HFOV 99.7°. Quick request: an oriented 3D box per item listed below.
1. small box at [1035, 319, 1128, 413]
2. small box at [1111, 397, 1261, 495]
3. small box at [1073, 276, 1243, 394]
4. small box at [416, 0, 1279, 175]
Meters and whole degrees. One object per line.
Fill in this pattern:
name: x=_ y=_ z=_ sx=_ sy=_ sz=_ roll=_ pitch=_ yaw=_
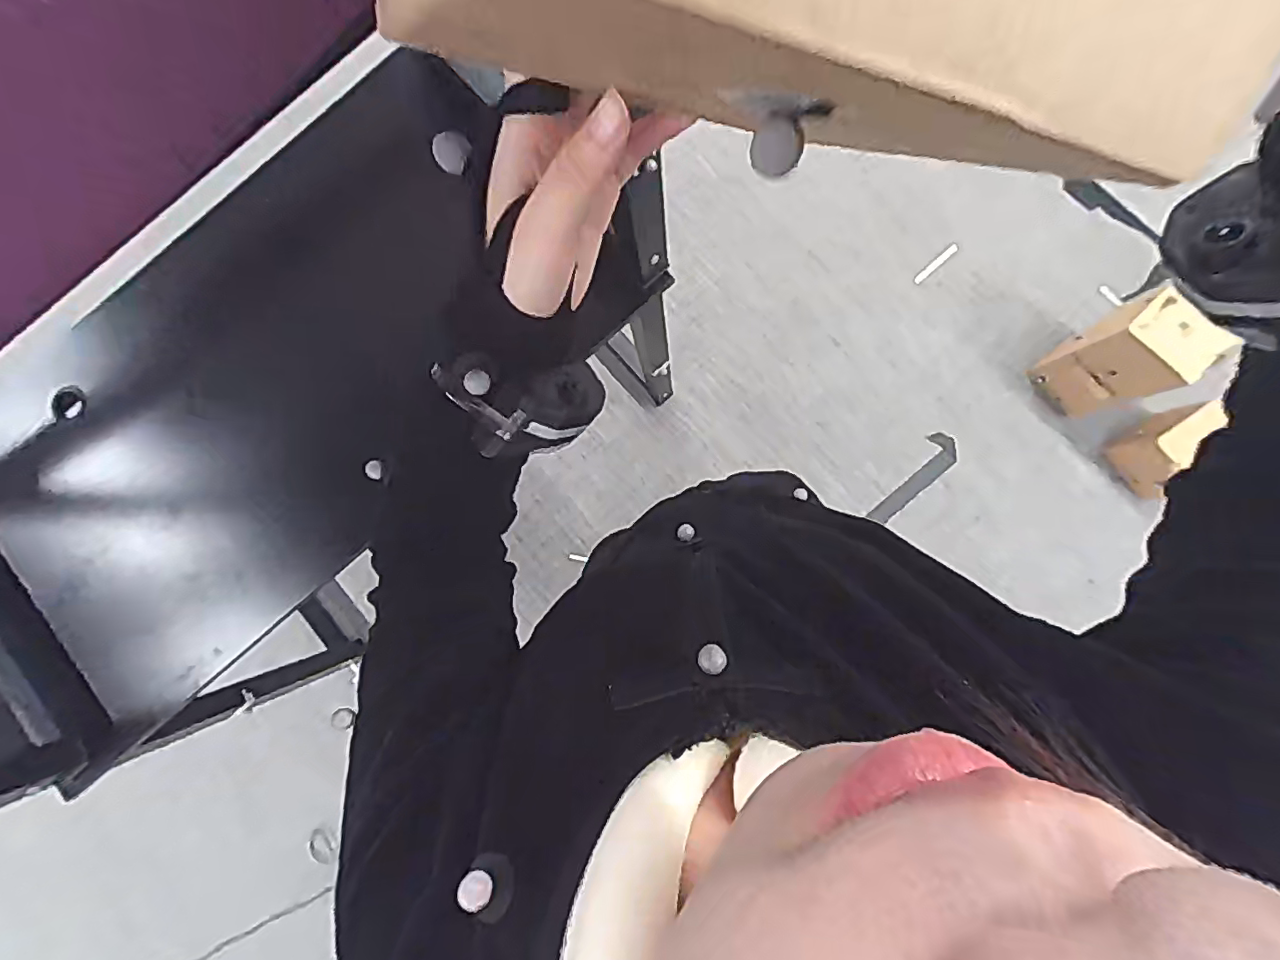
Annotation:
small box: x=1.157 y=-0.292 z=1.373 sx=0.179 sy=0.176 sz=0.168 roll=-40 pitch=84 yaw=-1
small box: x=1.336 y=-0.075 z=1.345 sx=0.179 sy=0.176 sz=0.168 roll=-36 pitch=84 yaw=0
small box: x=1.144 y=-0.312 z=1.210 sx=0.168 sy=0.176 sz=0.179 roll=-44 pitch=85 yaw=-1
small box: x=0.047 y=-0.176 z=0.109 sx=0.179 sy=0.176 sz=0.168 roll=-5 pitch=125 yaw=-27
